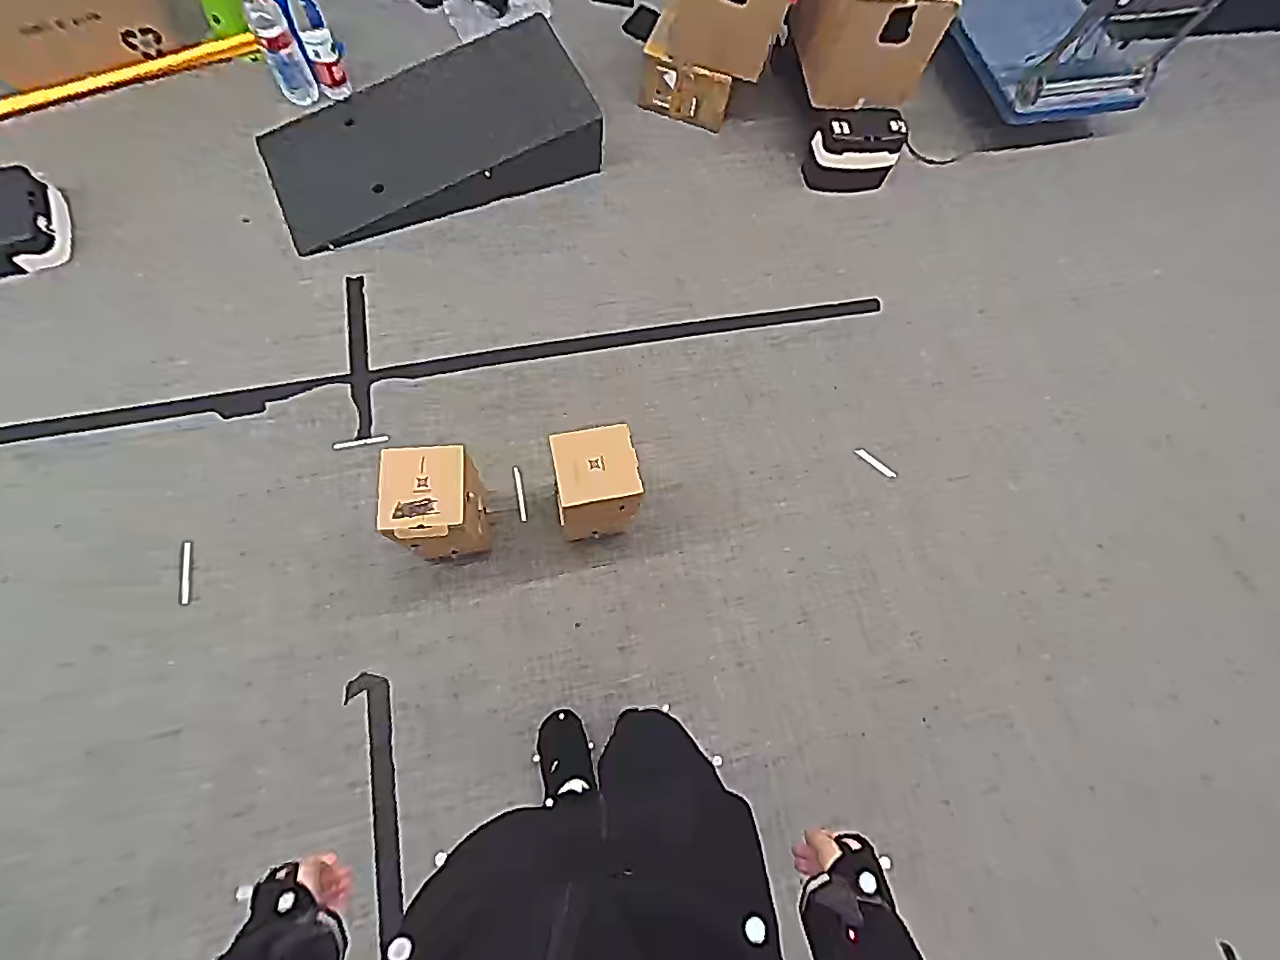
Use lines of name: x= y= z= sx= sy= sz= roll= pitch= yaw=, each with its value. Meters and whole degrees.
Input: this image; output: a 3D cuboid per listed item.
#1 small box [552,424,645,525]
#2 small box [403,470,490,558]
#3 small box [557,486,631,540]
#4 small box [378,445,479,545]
small box: x=-0.097 y=-0.007 z=1.207 sx=0.179 sy=0.176 sz=0.168 roll=-10 pitch=72 yaw=-9
small box: x=-0.463 y=0.086 z=1.309 sx=0.179 sy=0.176 sz=0.168 roll=-7 pitch=72 yaw=-10
small box: x=-0.122 y=0.041 z=1.361 sx=0.168 sy=0.176 sz=0.179 roll=-8 pitch=73 yaw=-8
small box: x=-0.441 y=0.038 z=1.152 sx=0.168 sy=0.176 sz=0.179 roll=-3 pitch=71 yaw=-8
